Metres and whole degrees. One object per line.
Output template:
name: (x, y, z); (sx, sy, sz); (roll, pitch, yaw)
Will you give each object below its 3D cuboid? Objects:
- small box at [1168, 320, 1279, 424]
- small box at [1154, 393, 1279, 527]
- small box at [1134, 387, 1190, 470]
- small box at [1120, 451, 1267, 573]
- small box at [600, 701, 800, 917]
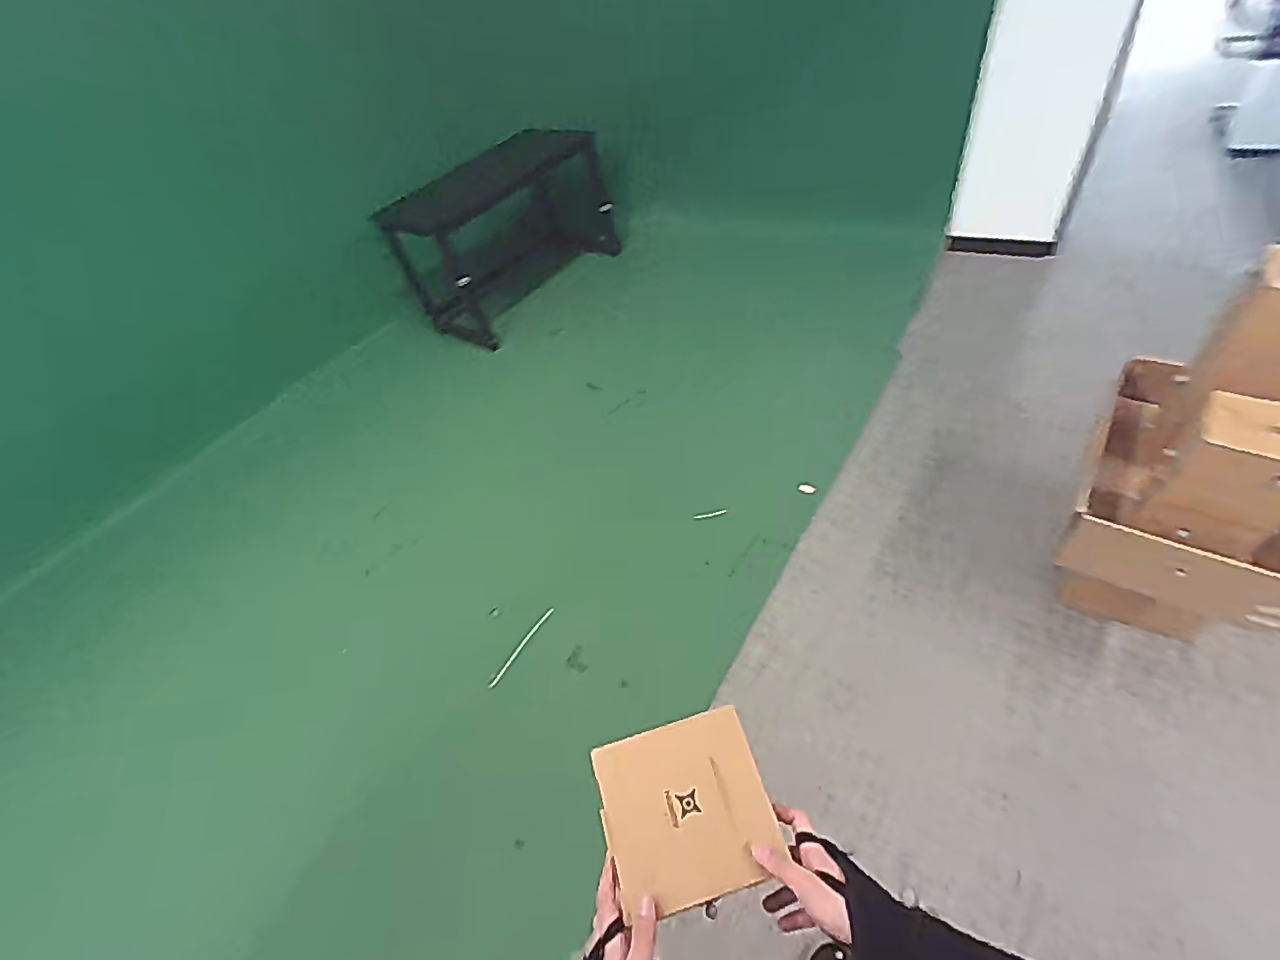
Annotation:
small box: (1.304, -0.217, 1.168); (0.179, 0.176, 0.168); (21, 57, 31)
small box: (1.153, -0.034, 1.039); (0.179, 0.176, 0.168); (26, 58, 32)
small box: (1.339, -0.112, 1.290); (0.179, 0.176, 0.168); (23, 58, 31)
small box: (1.184, 0.071, 1.163); (0.179, 0.176, 0.168); (25, 58, 32)
small box: (0.066, 0.386, 0.632); (0.179, 0.176, 0.168); (-15, 52, -4)
